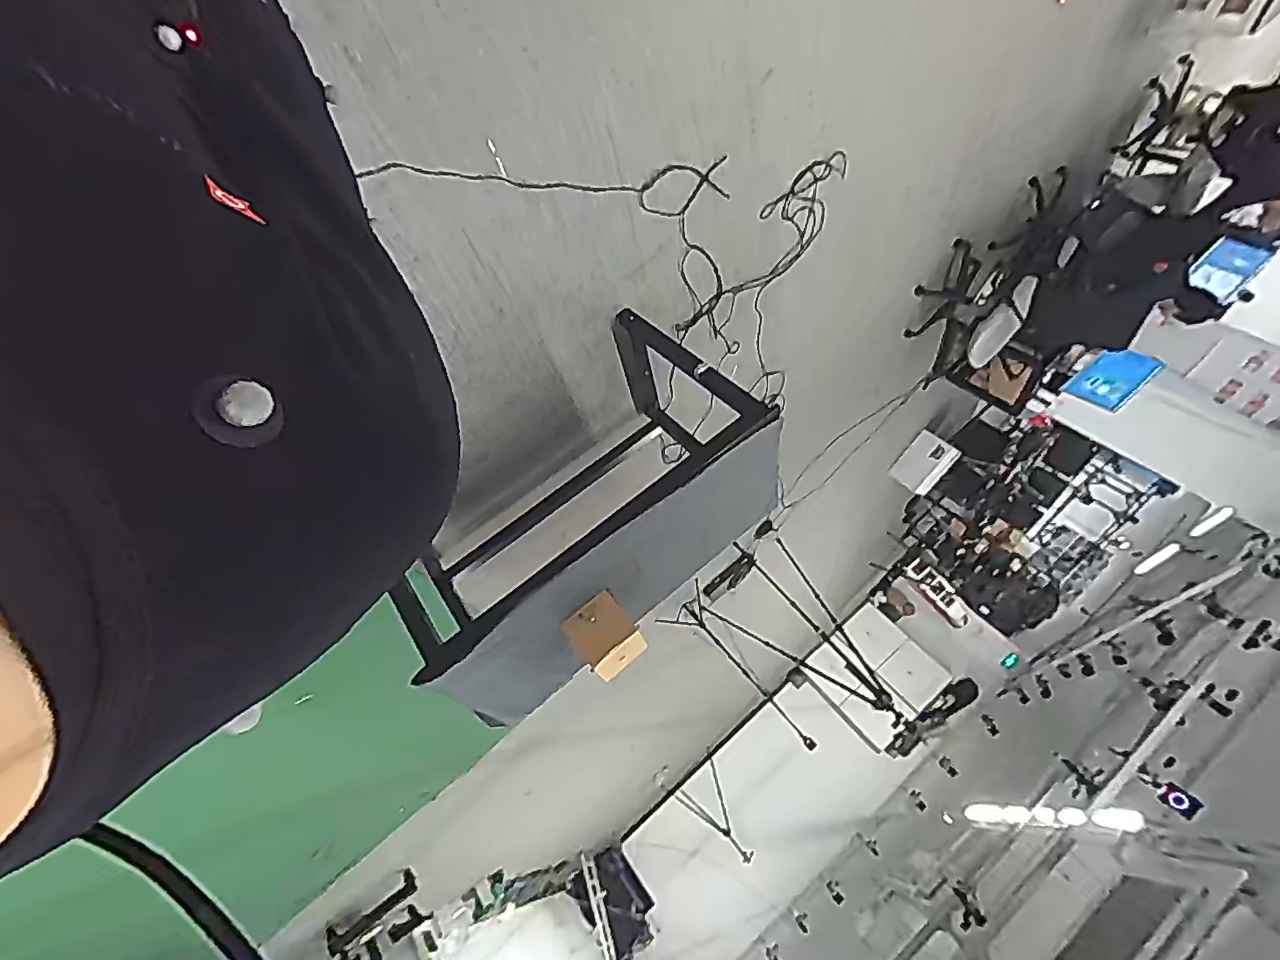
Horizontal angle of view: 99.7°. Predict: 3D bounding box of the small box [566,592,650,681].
[{"bbox_3d":[-0.094,0.465,1.614,0.168,0.176,0.179,-38,147,-12],"label":"small box"}]
